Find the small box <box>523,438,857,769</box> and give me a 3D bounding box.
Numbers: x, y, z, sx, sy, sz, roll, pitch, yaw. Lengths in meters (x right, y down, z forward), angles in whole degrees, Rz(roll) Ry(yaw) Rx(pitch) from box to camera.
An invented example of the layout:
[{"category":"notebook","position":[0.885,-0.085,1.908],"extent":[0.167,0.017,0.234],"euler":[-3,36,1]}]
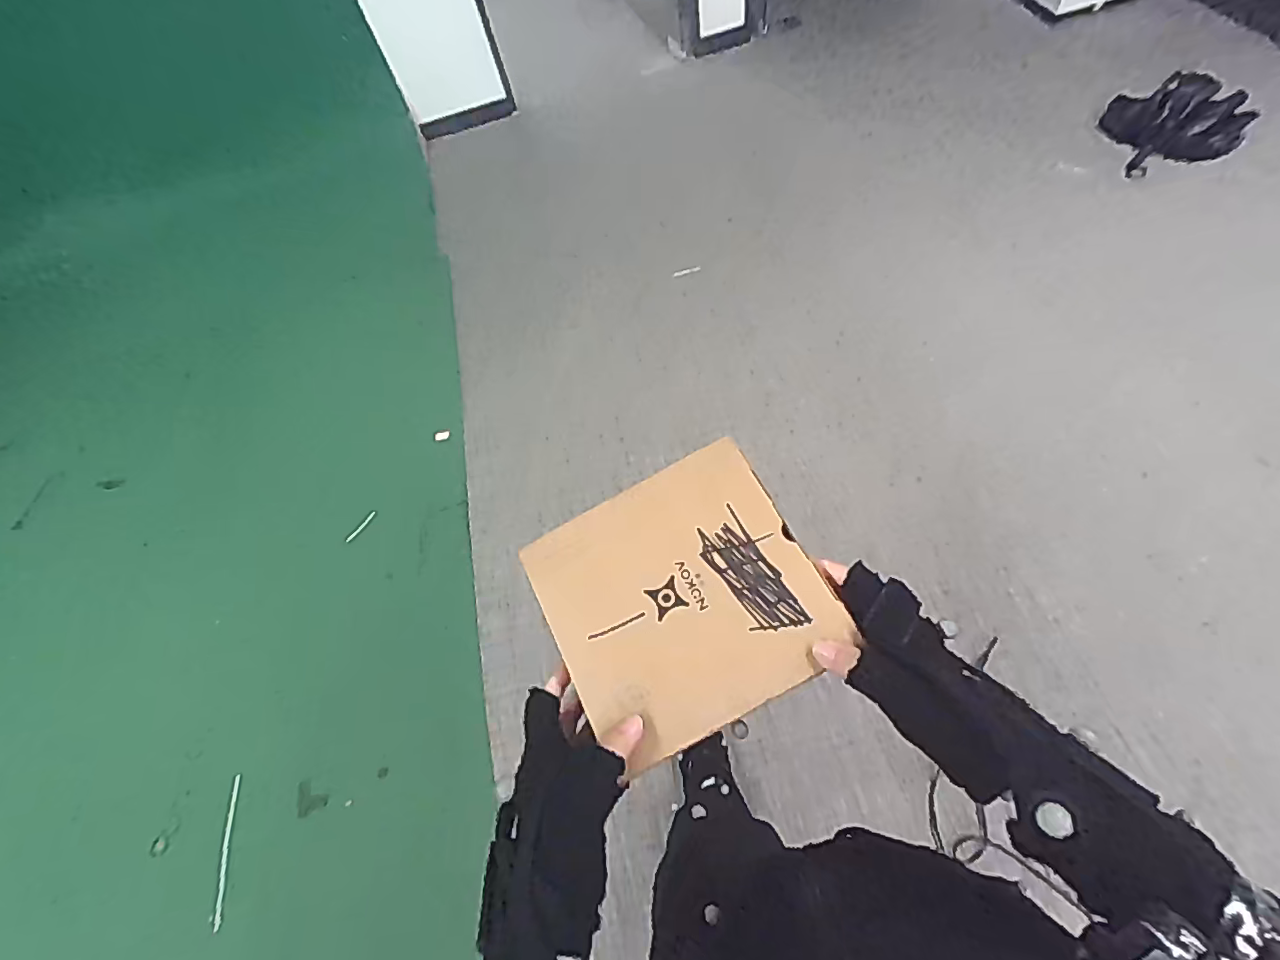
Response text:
[{"category":"small box","position":[0.037,0.099,0.434],"extent":[0.179,0.176,0.168],"euler":[-28,67,-1]}]
